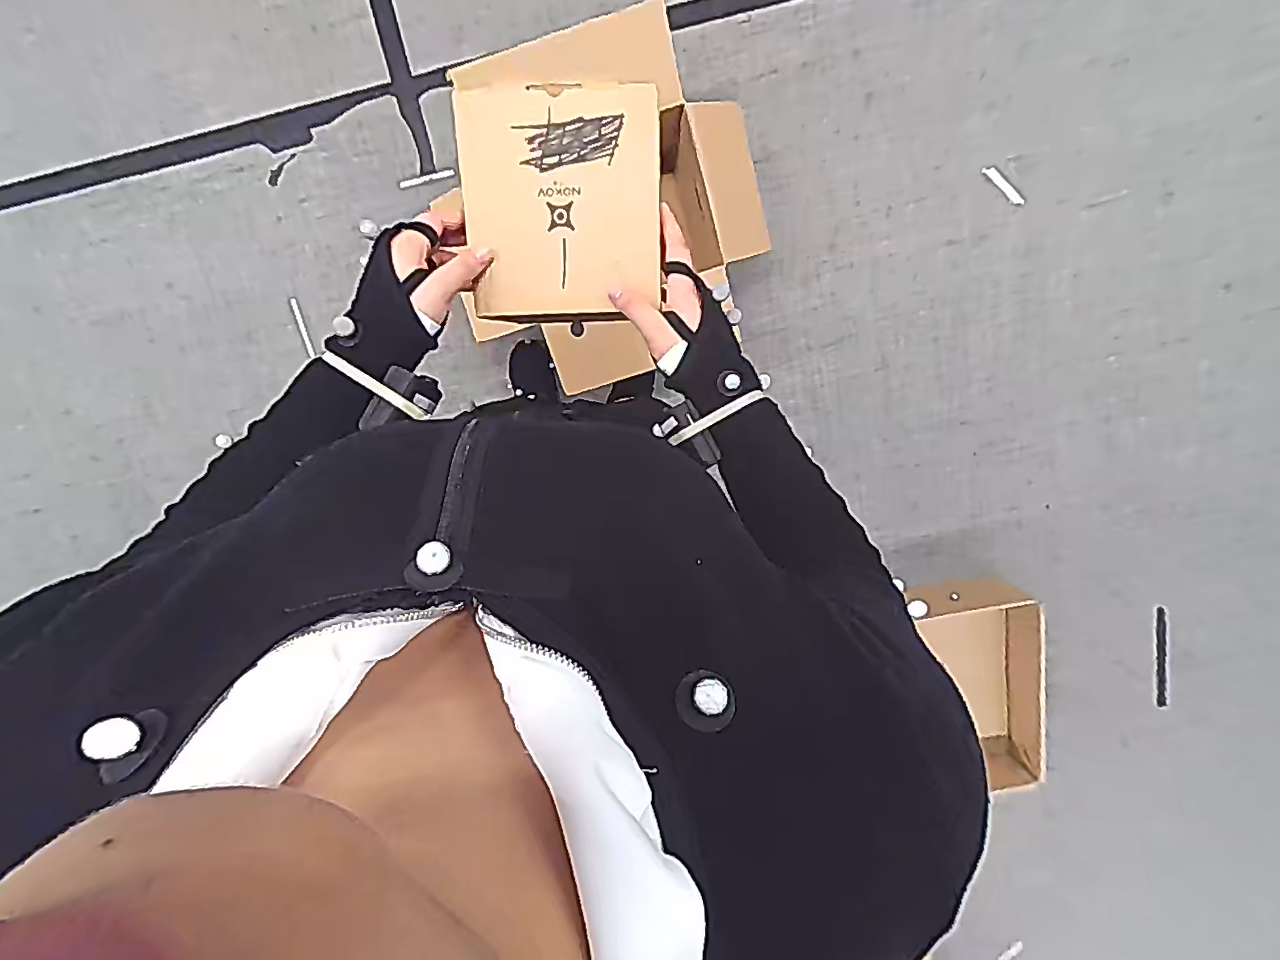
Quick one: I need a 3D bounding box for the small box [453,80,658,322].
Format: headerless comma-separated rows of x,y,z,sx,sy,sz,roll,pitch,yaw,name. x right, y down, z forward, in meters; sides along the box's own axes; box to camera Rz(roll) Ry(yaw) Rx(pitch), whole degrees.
-0.068,-0.251,0.528,0.168,0.176,0.179,-1,104,1,small box
